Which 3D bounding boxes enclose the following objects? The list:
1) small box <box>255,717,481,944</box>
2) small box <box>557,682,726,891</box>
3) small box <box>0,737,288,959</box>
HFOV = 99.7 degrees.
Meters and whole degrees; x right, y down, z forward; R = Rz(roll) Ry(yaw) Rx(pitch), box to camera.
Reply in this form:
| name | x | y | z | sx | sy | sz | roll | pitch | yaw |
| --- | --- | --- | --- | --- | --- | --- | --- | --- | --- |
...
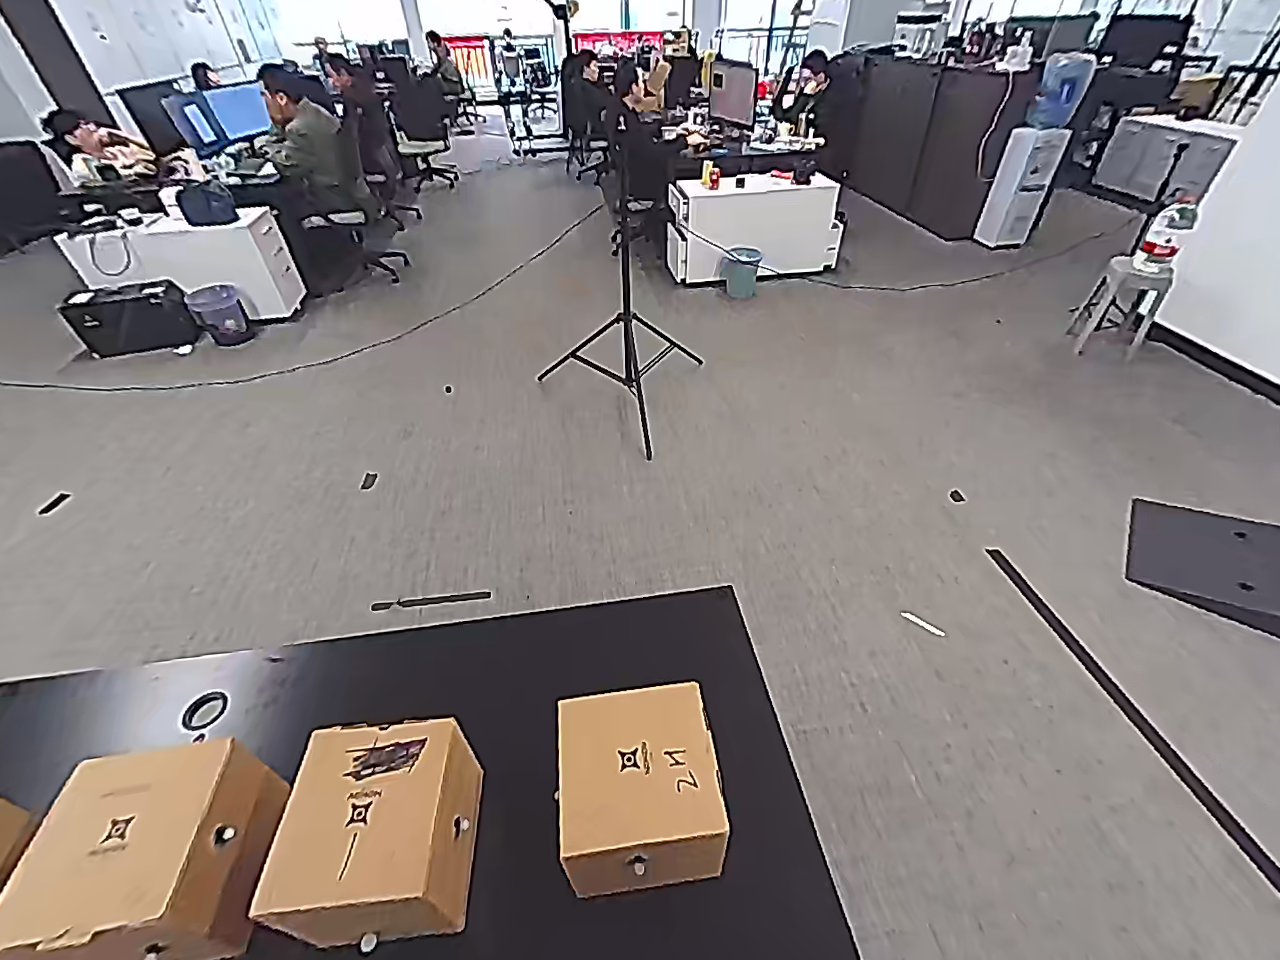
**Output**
| name | x | y | z | sx | sy | sz | roll | pitch | yaw |
| --- | --- | --- | --- | --- | --- | --- | --- | --- | --- |
| small box | -0.290 | 0.404 | 0.629 | 0.168 | 0.176 | 0.179 | -4 | 42 | -3 |
| small box | -0.002 | 0.373 | 0.657 | 0.179 | 0.176 | 0.168 | -6 | 42 | -4 |
| small box | -0.539 | 0.425 | 0.613 | 0.168 | 0.176 | 0.179 | -6 | 41 | -7 |
